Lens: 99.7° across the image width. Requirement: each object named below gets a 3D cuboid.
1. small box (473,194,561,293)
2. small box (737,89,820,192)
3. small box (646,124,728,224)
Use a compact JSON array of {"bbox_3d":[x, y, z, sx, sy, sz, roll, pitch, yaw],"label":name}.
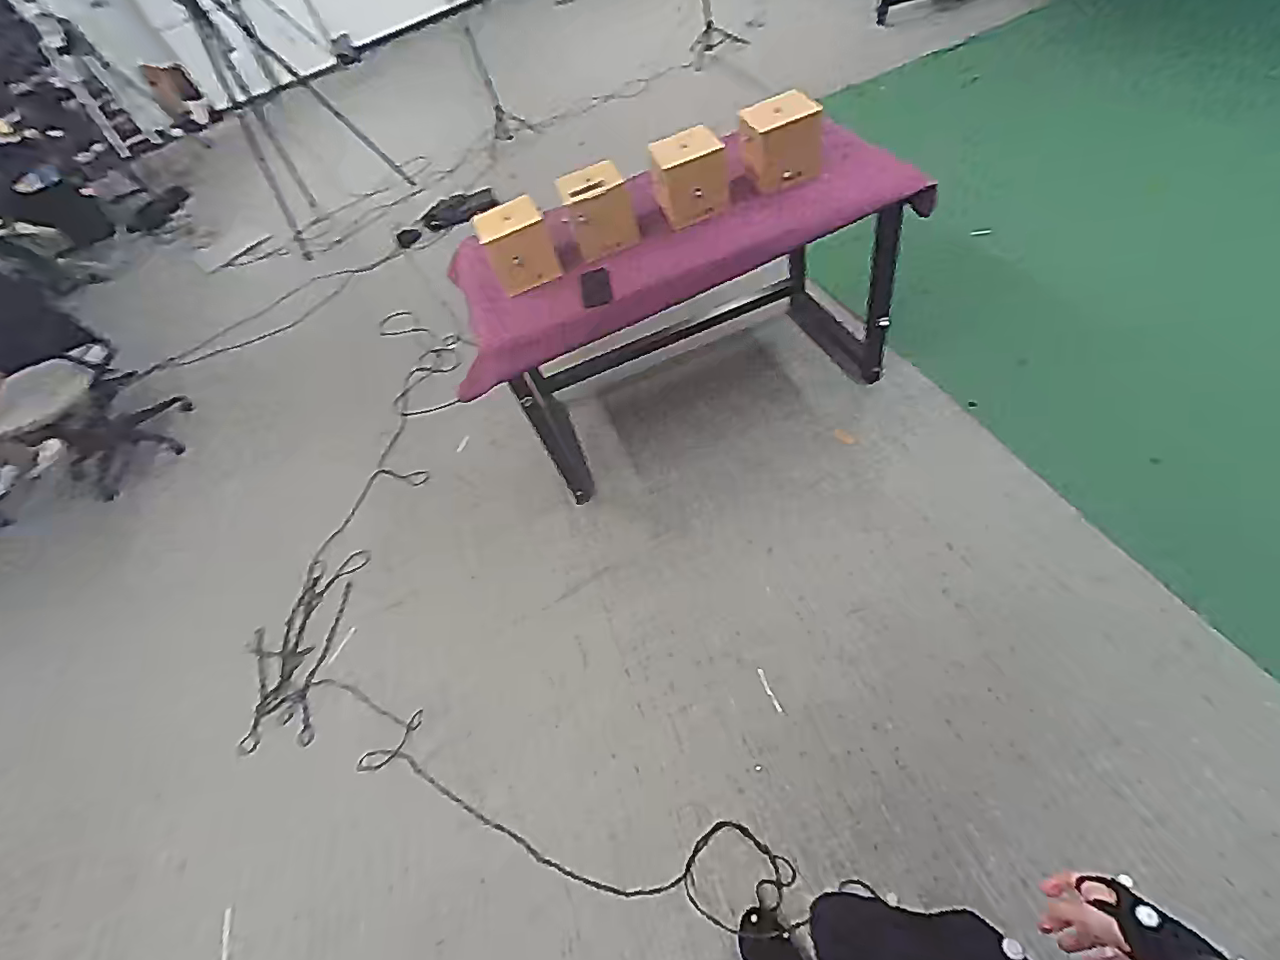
[{"bbox_3d":[-0.332,-0.639,1.478,0.168,0.176,0.179,-25,50,-2],"label":"small box"},{"bbox_3d":[0.375,-0.921,1.474,0.168,0.176,0.179,-20,51,3],"label":"small box"},{"bbox_3d":[0.131,-0.829,1.478,0.168,0.176,0.179,-20,51,1],"label":"small box"}]
